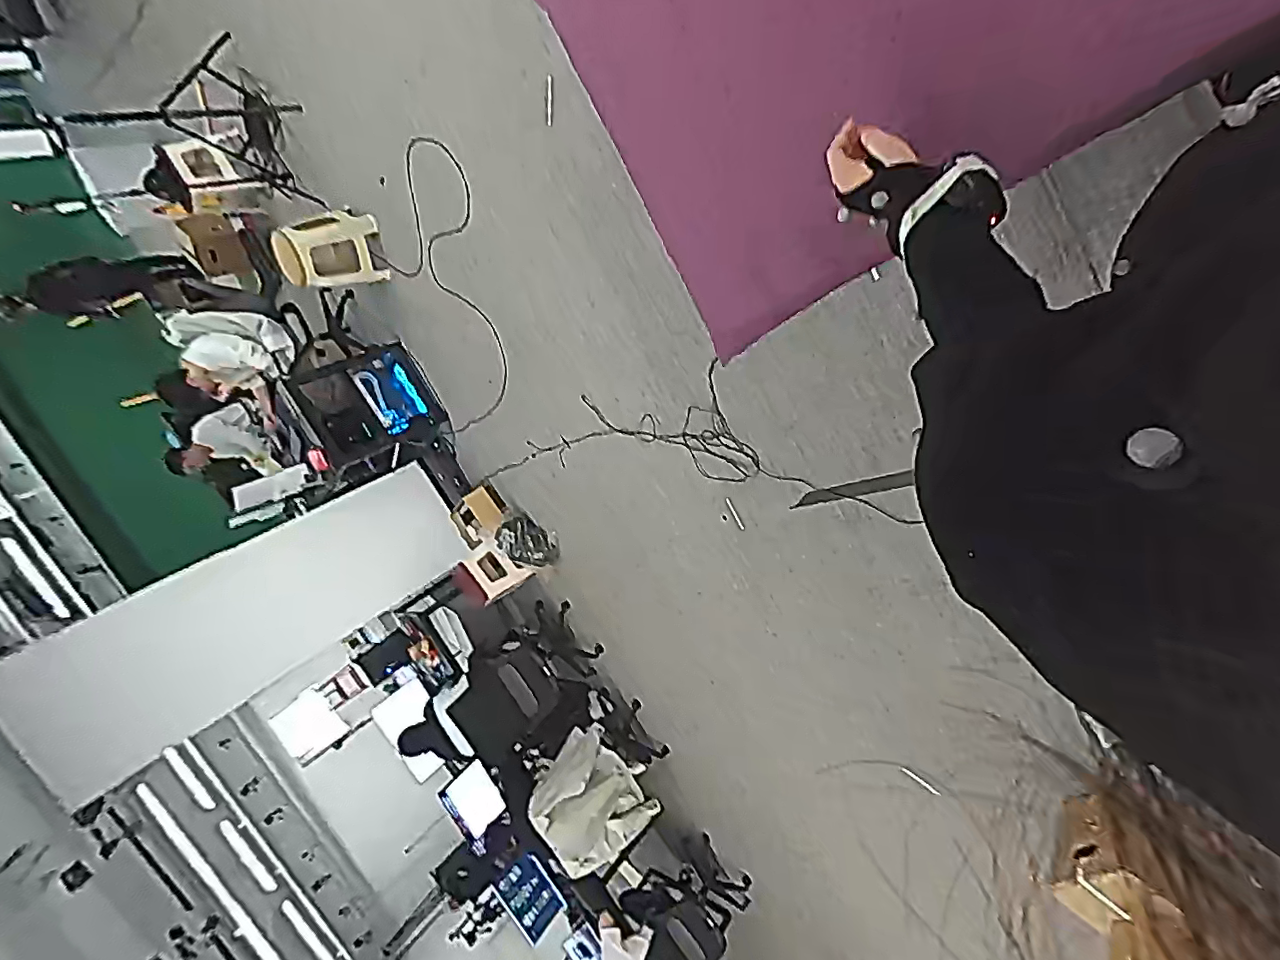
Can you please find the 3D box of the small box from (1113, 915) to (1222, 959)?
[{"bbox_3d":[1.329,1.237,1.355,0.168,0.176,0.179,37,140,23],"label":"small box"}]
